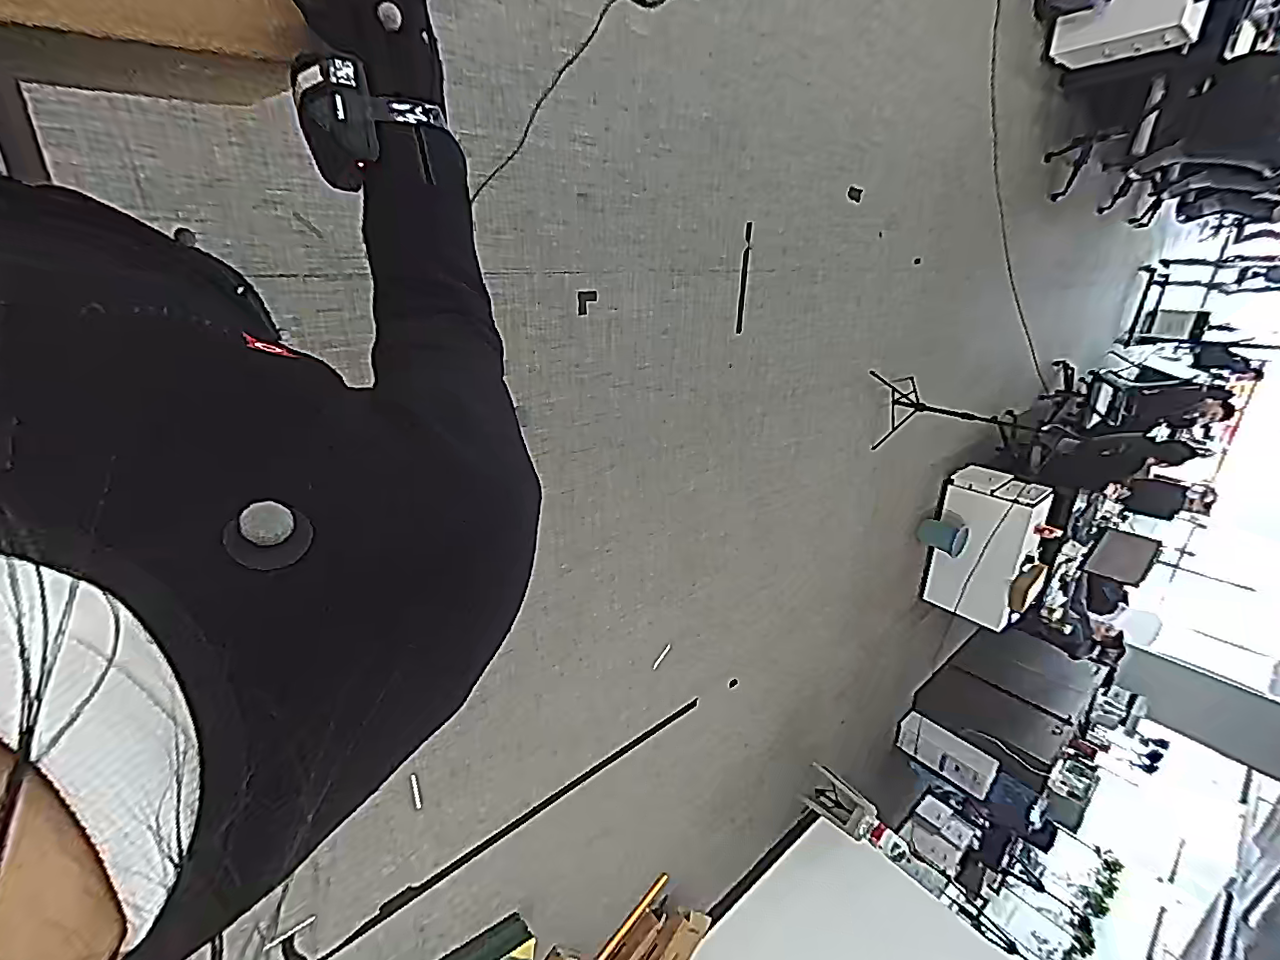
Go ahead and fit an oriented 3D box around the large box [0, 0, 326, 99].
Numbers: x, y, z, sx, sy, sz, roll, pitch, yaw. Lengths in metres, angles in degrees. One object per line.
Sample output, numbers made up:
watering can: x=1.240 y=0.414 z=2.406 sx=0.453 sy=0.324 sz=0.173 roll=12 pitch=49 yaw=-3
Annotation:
large box: x=-0.450 y=-0.408 z=0.268 sx=0.408 sy=0.320 sz=0.320 roll=-21 pitch=127 yaw=-37
